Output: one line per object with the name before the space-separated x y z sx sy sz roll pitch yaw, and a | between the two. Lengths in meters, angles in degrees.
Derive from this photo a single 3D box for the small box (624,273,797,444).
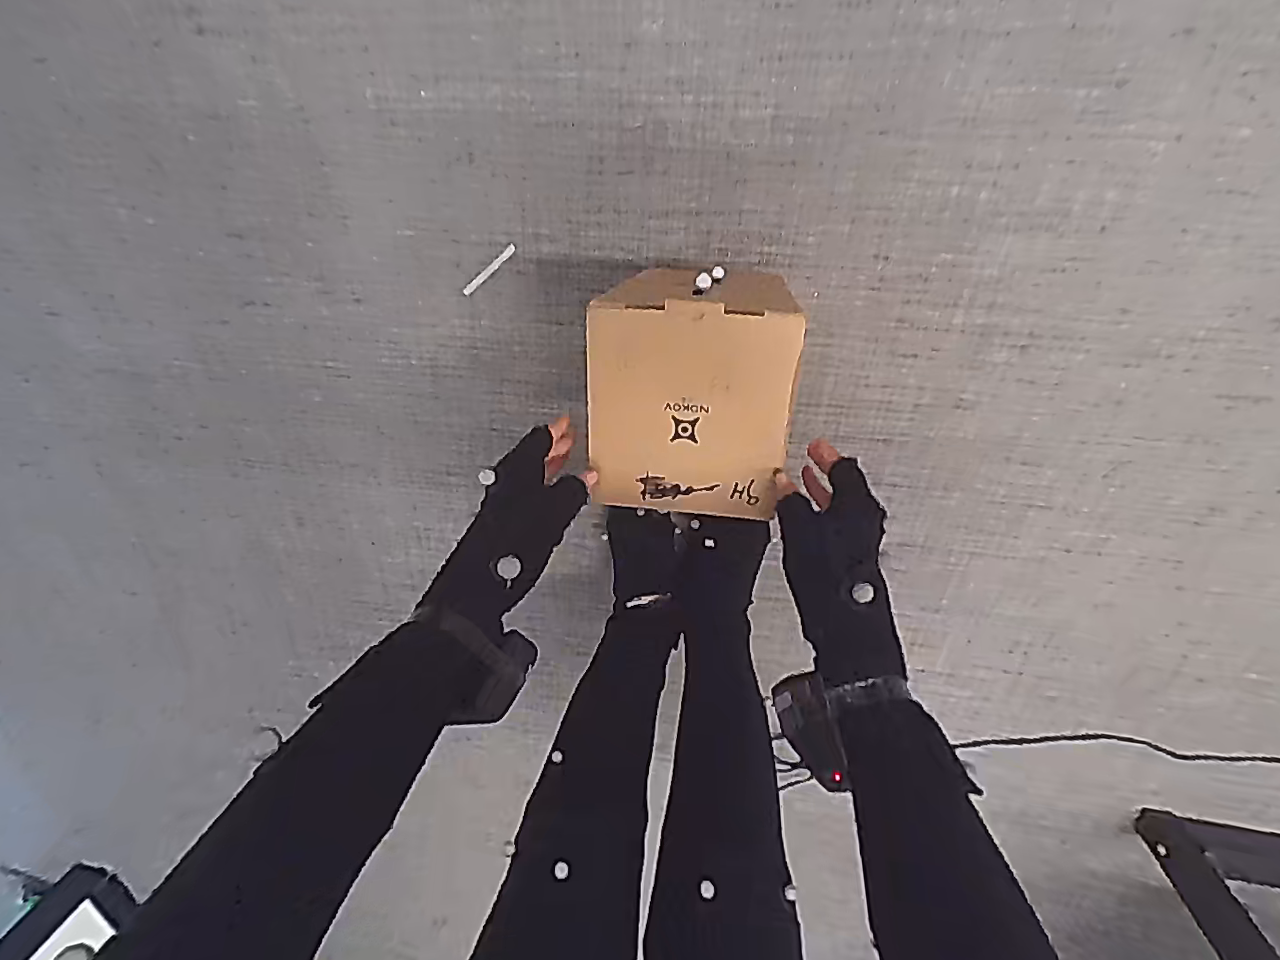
small box | 0.084 -0.157 0.662 0.179 0.176 0.168 6 117 7
